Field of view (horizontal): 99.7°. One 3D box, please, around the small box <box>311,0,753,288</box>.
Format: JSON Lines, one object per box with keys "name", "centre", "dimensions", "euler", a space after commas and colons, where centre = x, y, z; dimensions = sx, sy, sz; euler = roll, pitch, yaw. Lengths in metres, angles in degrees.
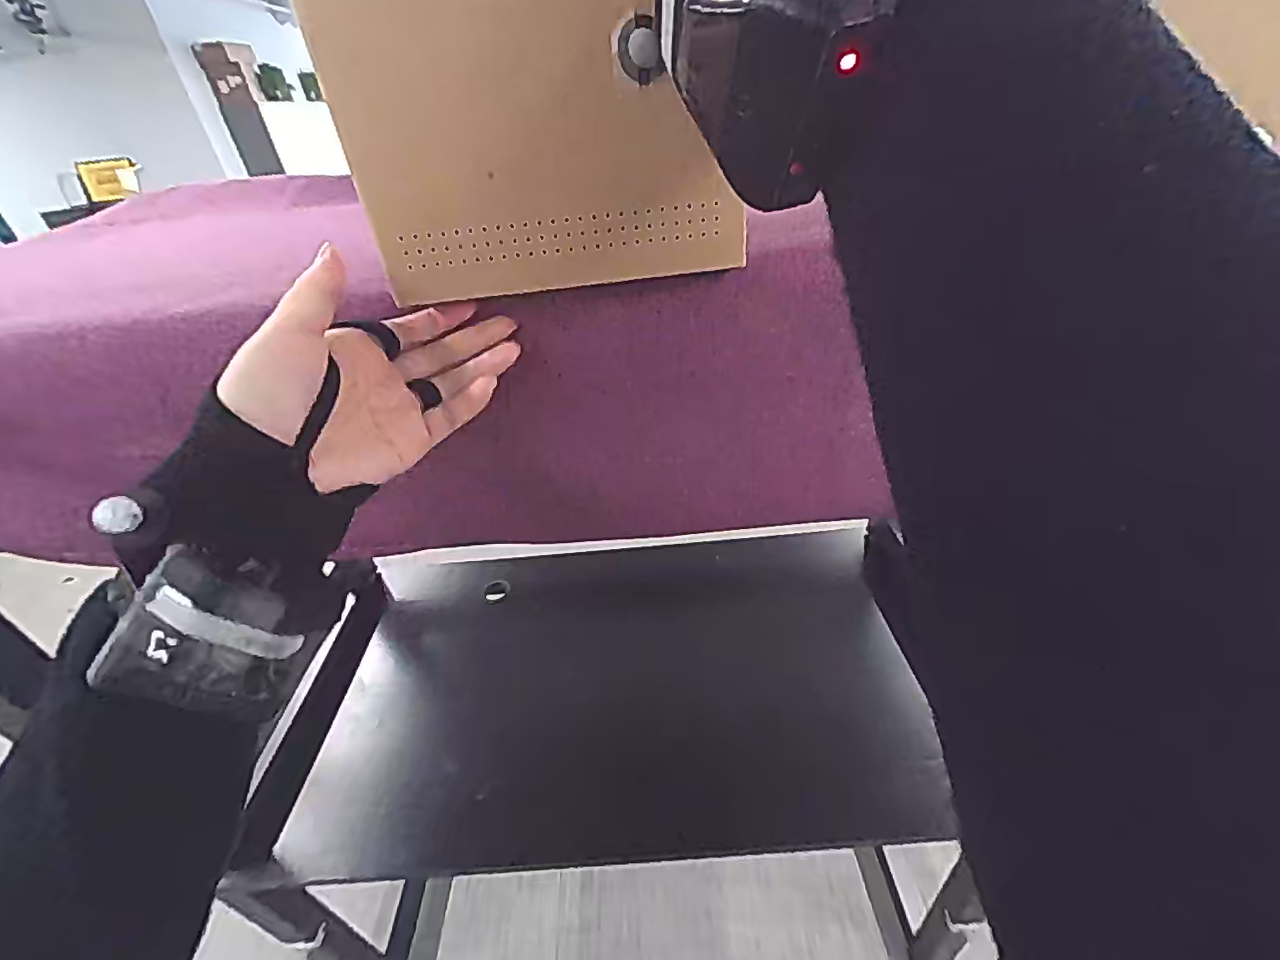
{"name": "small box", "centre": [-0.042, -0.213, 0.285], "dimensions": [0.179, 0.176, 0.168], "euler": [-7, 34, 0]}
